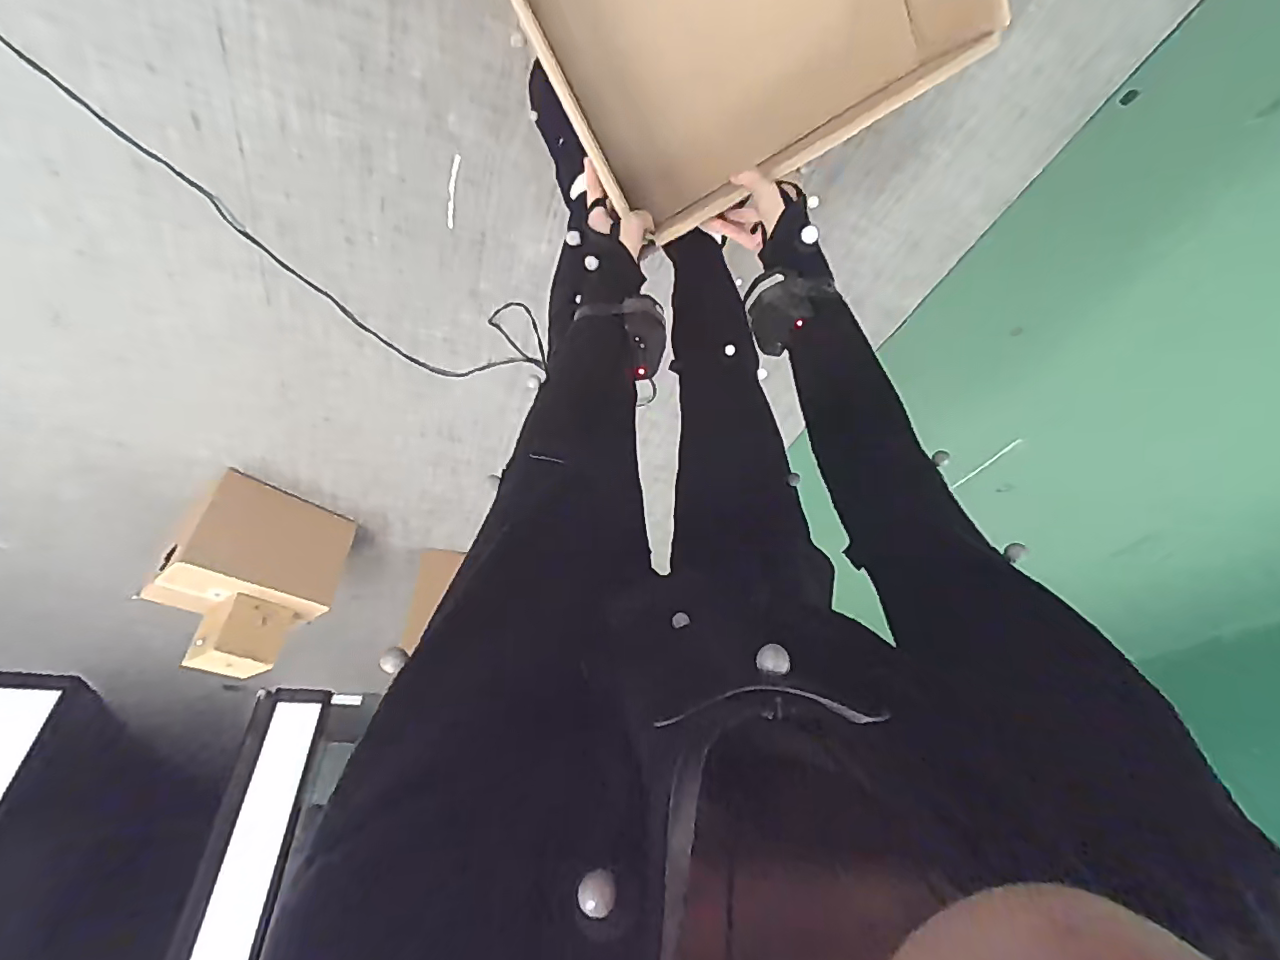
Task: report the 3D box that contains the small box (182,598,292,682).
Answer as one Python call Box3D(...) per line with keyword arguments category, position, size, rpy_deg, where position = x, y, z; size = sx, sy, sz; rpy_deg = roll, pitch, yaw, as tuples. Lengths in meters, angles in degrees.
Box3D(category="small box", position=(-1.139, 0.457, 1.542), size=(0.179, 0.176, 0.168), rpy_deg=(-23, 138, 26))

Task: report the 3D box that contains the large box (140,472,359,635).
Box3D(category="large box", position=(-1.168, 0.241, 1.660), size=(0.320, 0.320, 0.408), rpy_deg=(-27, 135, 28))
